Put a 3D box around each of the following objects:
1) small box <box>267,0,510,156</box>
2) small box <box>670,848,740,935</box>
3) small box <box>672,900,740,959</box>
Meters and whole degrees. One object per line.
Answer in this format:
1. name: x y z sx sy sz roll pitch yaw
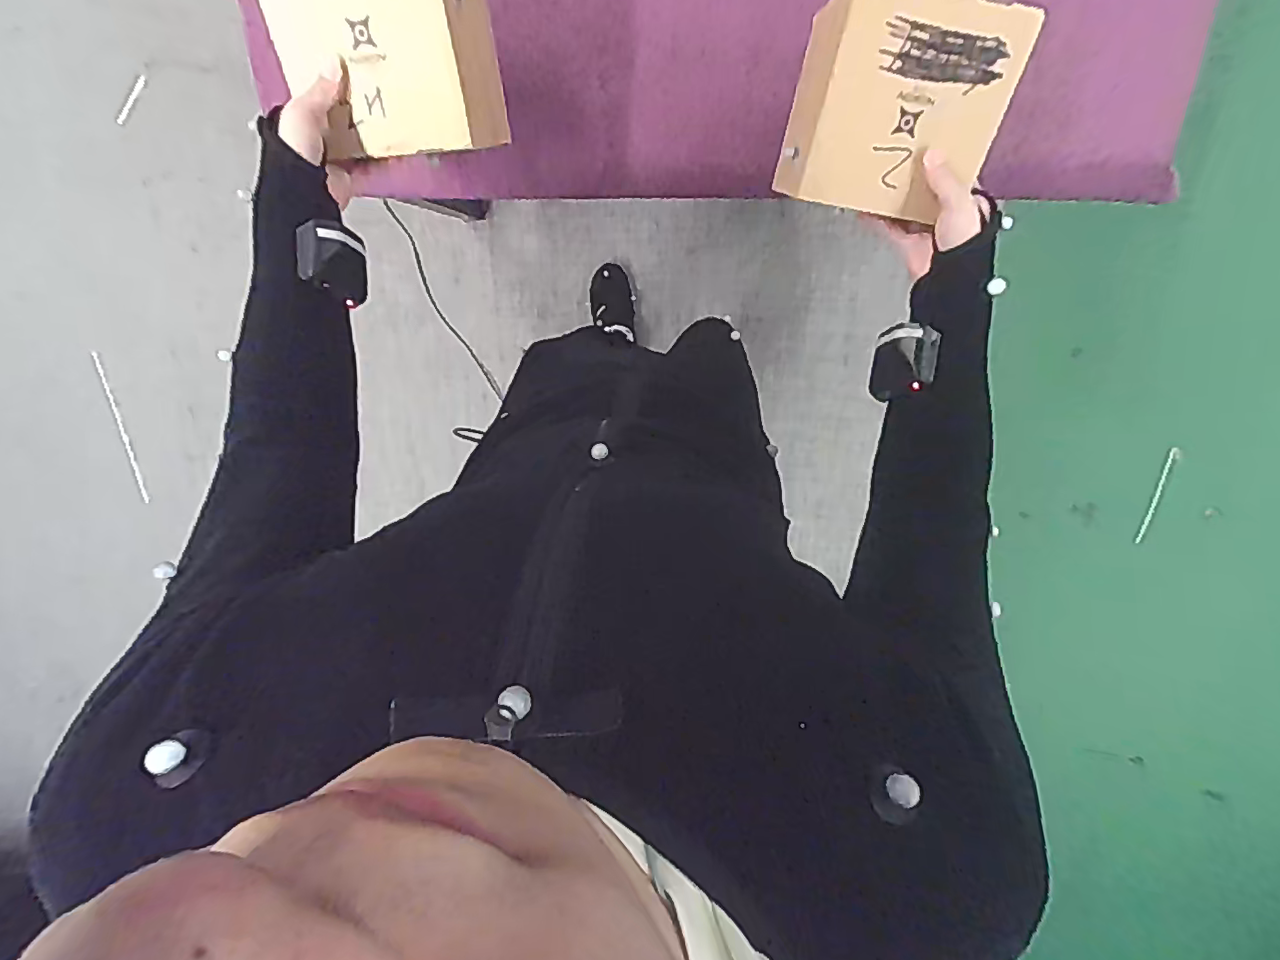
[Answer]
1. small box: -0.246 -0.445 0.563 0.168 0.176 0.179 -2 123 4
2. small box: 0.196 1.289 1.685 0.179 0.176 0.168 10 110 -2
3. small box: 0.184 1.347 1.533 0.168 0.176 0.179 9 110 -1
